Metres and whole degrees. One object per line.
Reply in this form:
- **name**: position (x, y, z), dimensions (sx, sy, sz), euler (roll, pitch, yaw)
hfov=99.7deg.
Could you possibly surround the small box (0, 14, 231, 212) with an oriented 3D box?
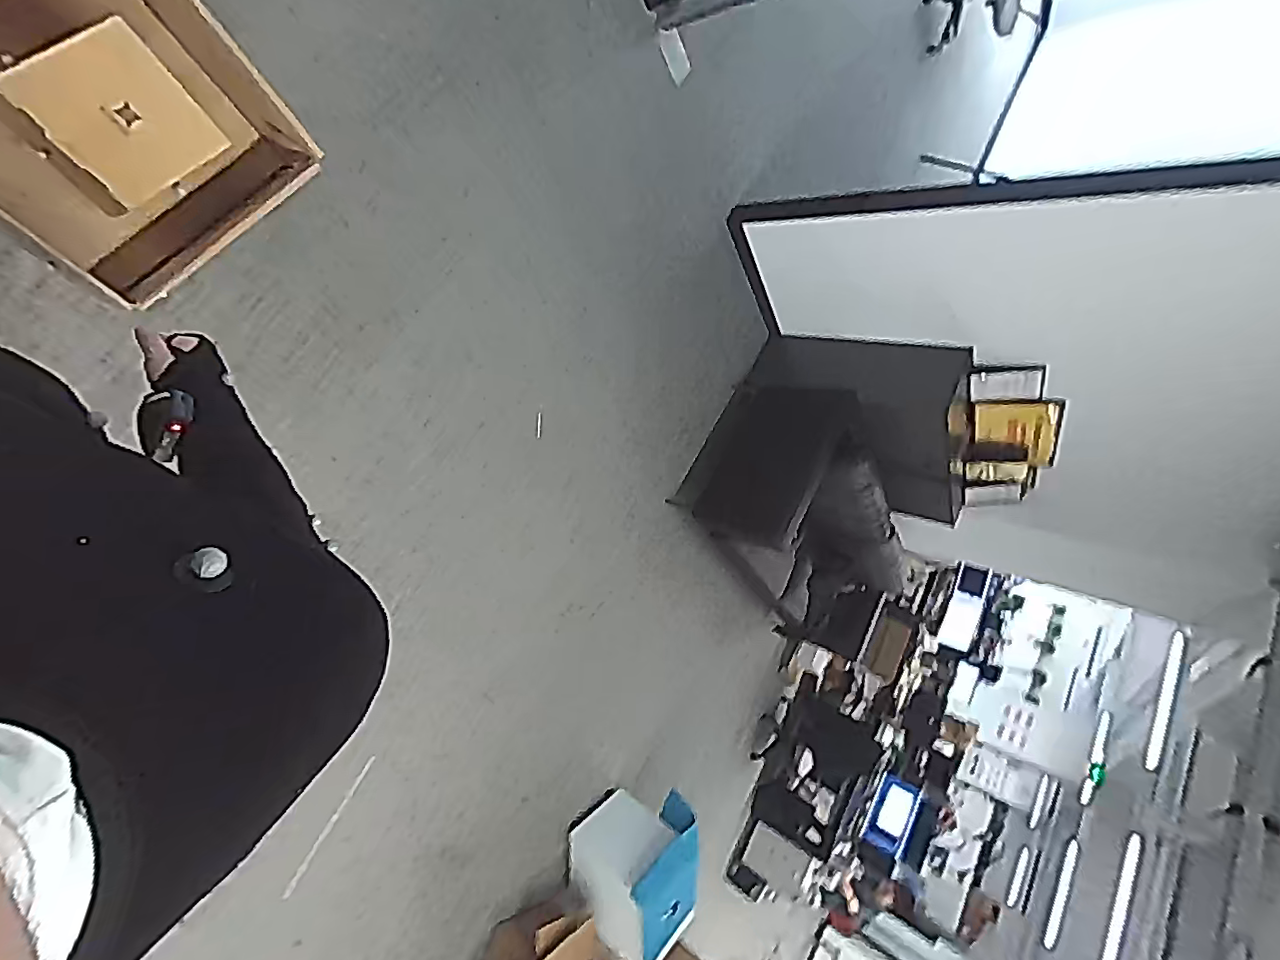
- **small box**: position (-0.741, -0.504, 0.762), dimensions (0.179, 0.176, 0.168), euler (-54, 138, -20)
